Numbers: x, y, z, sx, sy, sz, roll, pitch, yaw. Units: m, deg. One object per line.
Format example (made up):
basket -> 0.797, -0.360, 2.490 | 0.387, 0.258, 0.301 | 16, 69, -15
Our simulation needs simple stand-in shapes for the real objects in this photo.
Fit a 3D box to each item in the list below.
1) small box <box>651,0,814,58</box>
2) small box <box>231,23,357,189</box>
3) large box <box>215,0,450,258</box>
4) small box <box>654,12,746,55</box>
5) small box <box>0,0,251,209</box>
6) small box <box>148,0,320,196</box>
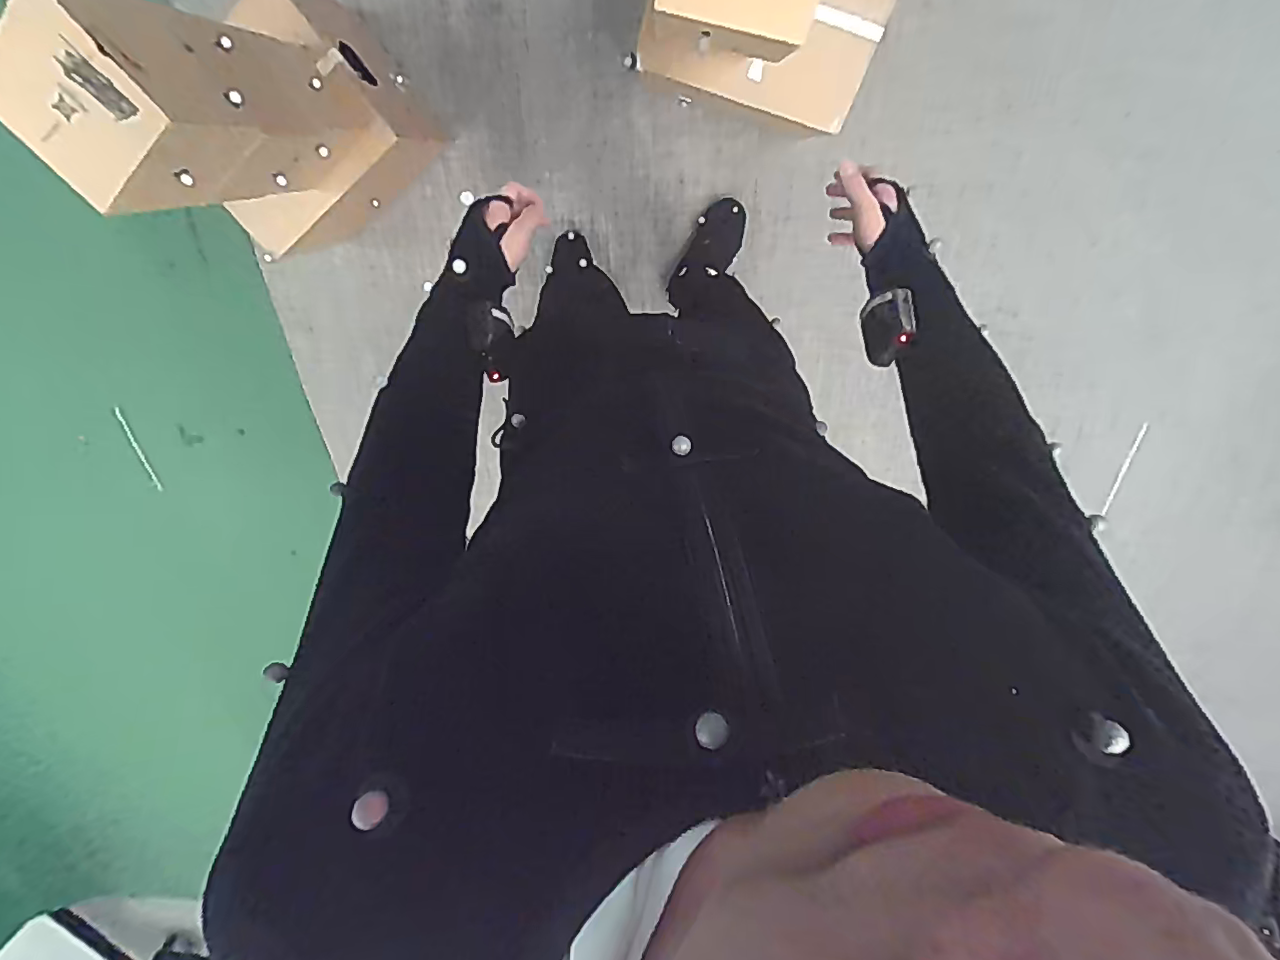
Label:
small box -> 0.112, -0.584, 0.580 | 0.168, 0.176, 0.179 | 11, 121, -3
small box -> -0.642, -0.651, 0.961 | 0.179, 0.176, 0.168 | -30, 114, 19
large box -> -0.706, -0.764, 1.185 | 0.408, 0.320, 0.320 | -30, 113, 20
small box -> 0.119, -0.787, 0.838 | 0.168, 0.176, 0.179 | 8, 122, -2
small box -> -0.647, -0.479, 0.684 | 0.179, 0.176, 0.168 | -30, 115, 21
small box -> -0.644, -0.564, 0.824 | 0.168, 0.176, 0.179 | -28, 116, 19
